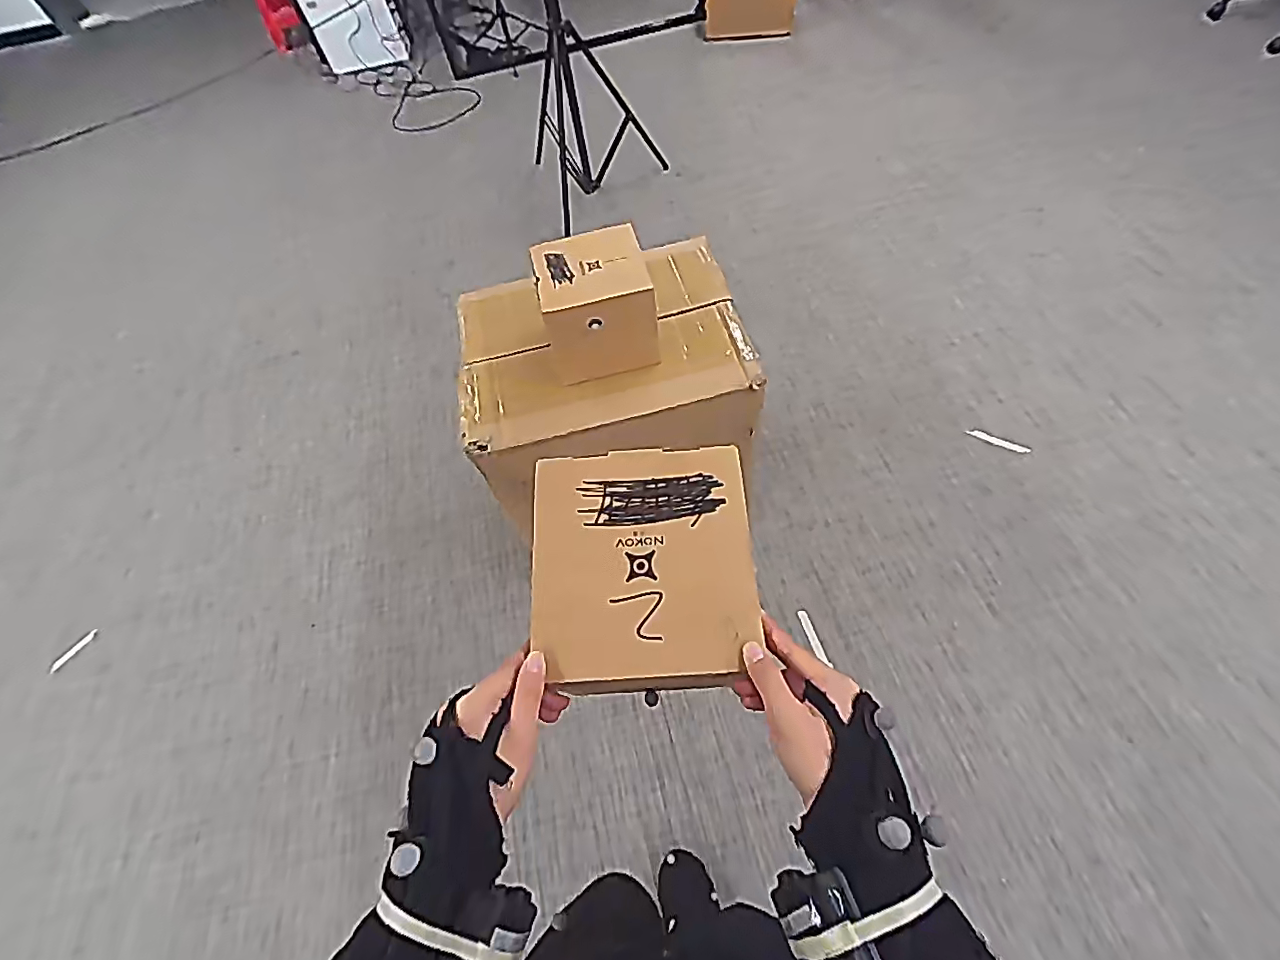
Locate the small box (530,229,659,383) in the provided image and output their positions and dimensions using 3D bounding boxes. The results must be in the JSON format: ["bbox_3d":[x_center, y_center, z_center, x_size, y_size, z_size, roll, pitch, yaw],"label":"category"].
[{"bbox_3d":[-0.074,-0.288,0.921,0.179,0.176,0.168,-14,59,-2],"label":"small box"}]
